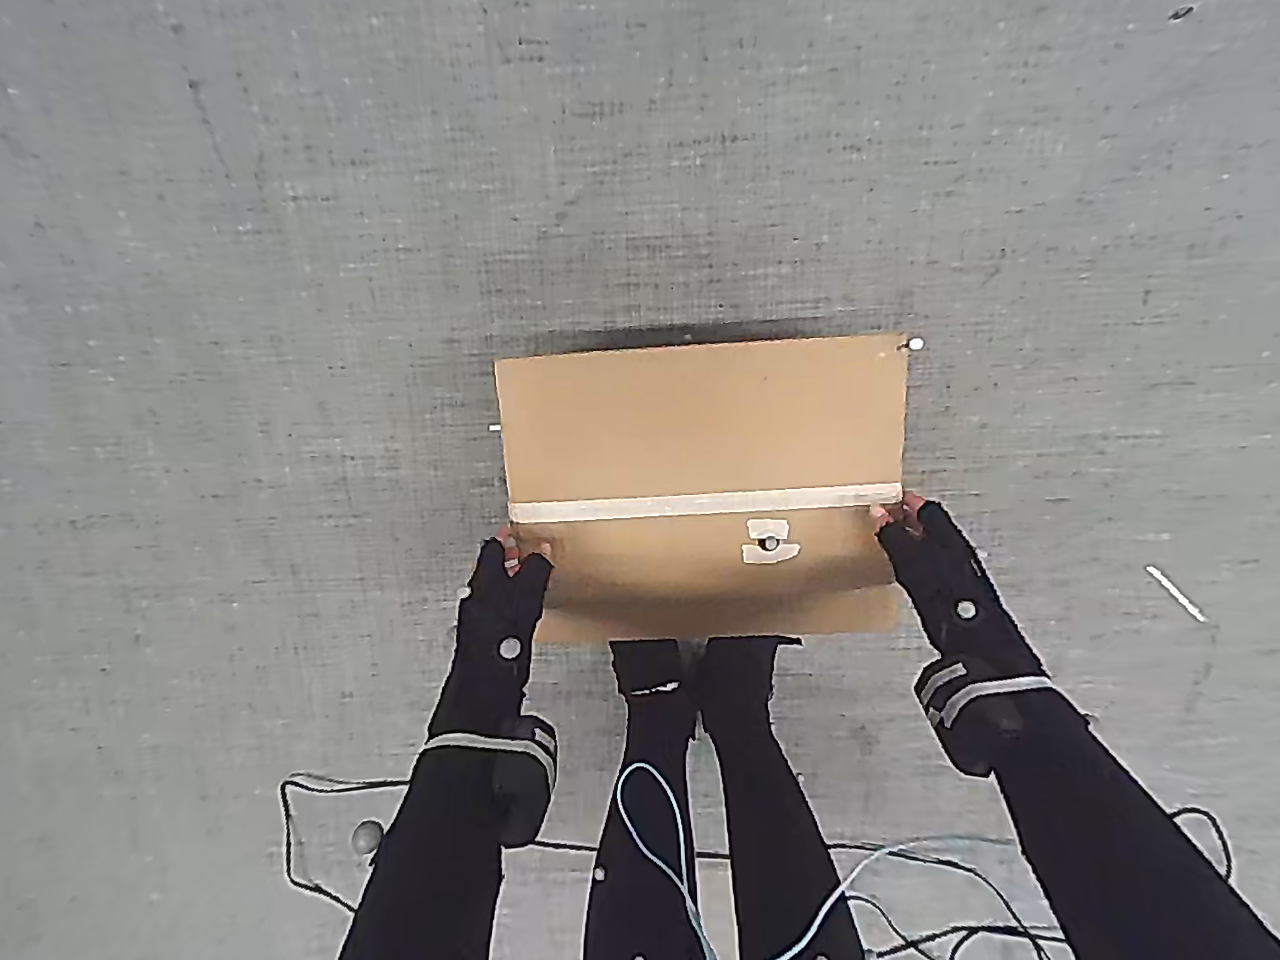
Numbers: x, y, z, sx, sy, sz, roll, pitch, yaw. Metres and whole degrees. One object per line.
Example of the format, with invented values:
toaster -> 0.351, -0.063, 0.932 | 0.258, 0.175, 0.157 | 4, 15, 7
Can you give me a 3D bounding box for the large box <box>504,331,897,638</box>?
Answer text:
large box -> 0.073, -0.013, 0.719 | 0.408, 0.320, 0.320 | -3, 102, 3
